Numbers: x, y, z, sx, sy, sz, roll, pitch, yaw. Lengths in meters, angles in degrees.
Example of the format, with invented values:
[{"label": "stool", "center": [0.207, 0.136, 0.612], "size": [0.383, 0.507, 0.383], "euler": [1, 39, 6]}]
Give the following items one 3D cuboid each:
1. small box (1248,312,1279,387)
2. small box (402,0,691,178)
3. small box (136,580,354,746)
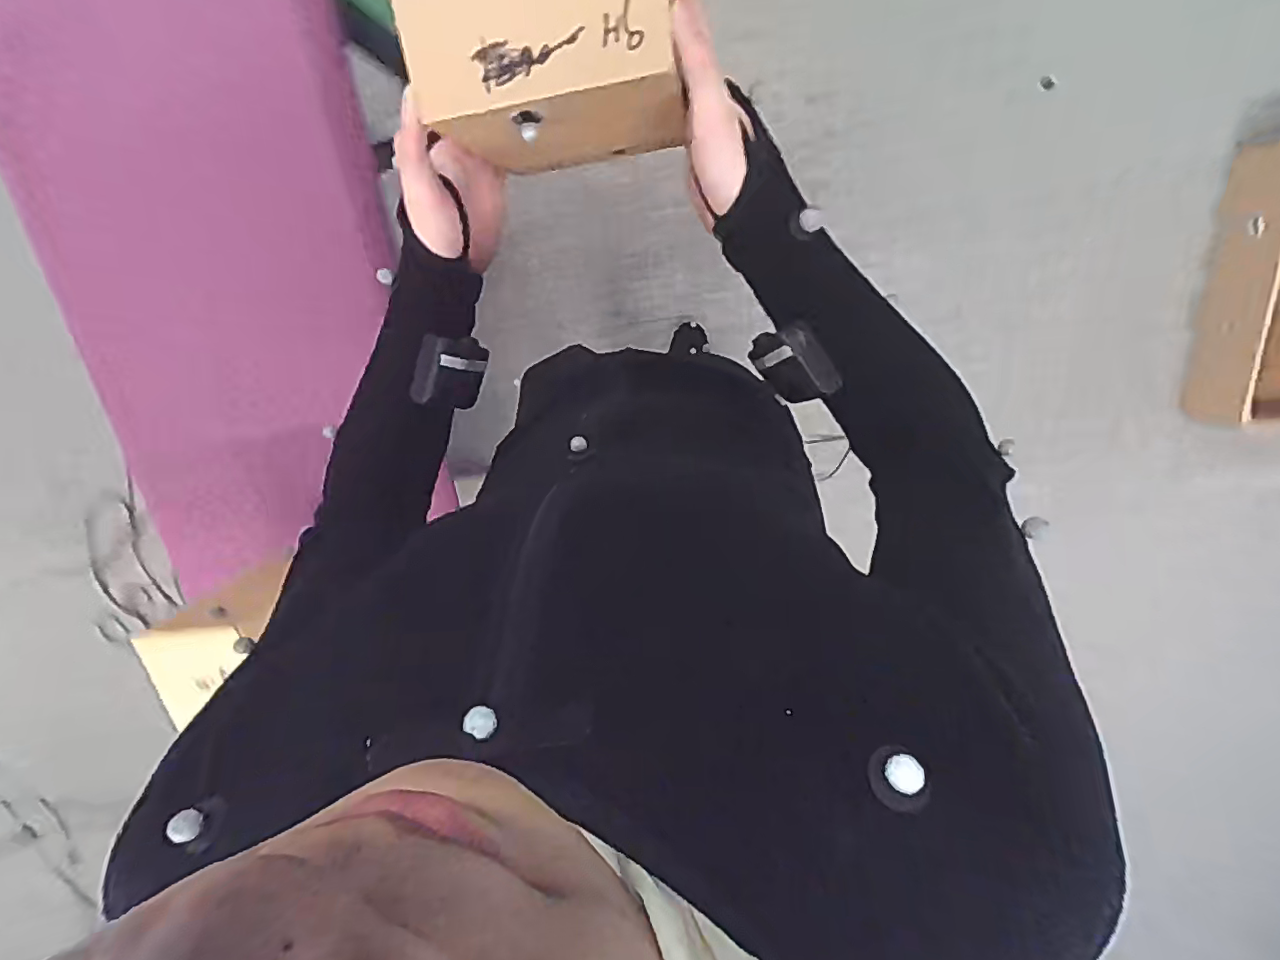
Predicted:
[{"label": "small box", "center": [1.527, -0.289, 1.186], "size": [0.179, 0.176, 0.168], "euler": [-1, 106, 9]}, {"label": "small box", "center": [-0.054, -0.338, 0.381], "size": [0.168, 0.176, 0.179], "euler": [-4, 107, 10]}, {"label": "small box", "center": [-0.554, 0.258, 0.791], "size": [0.179, 0.176, 0.168], "euler": [-8, 106, 13]}]
